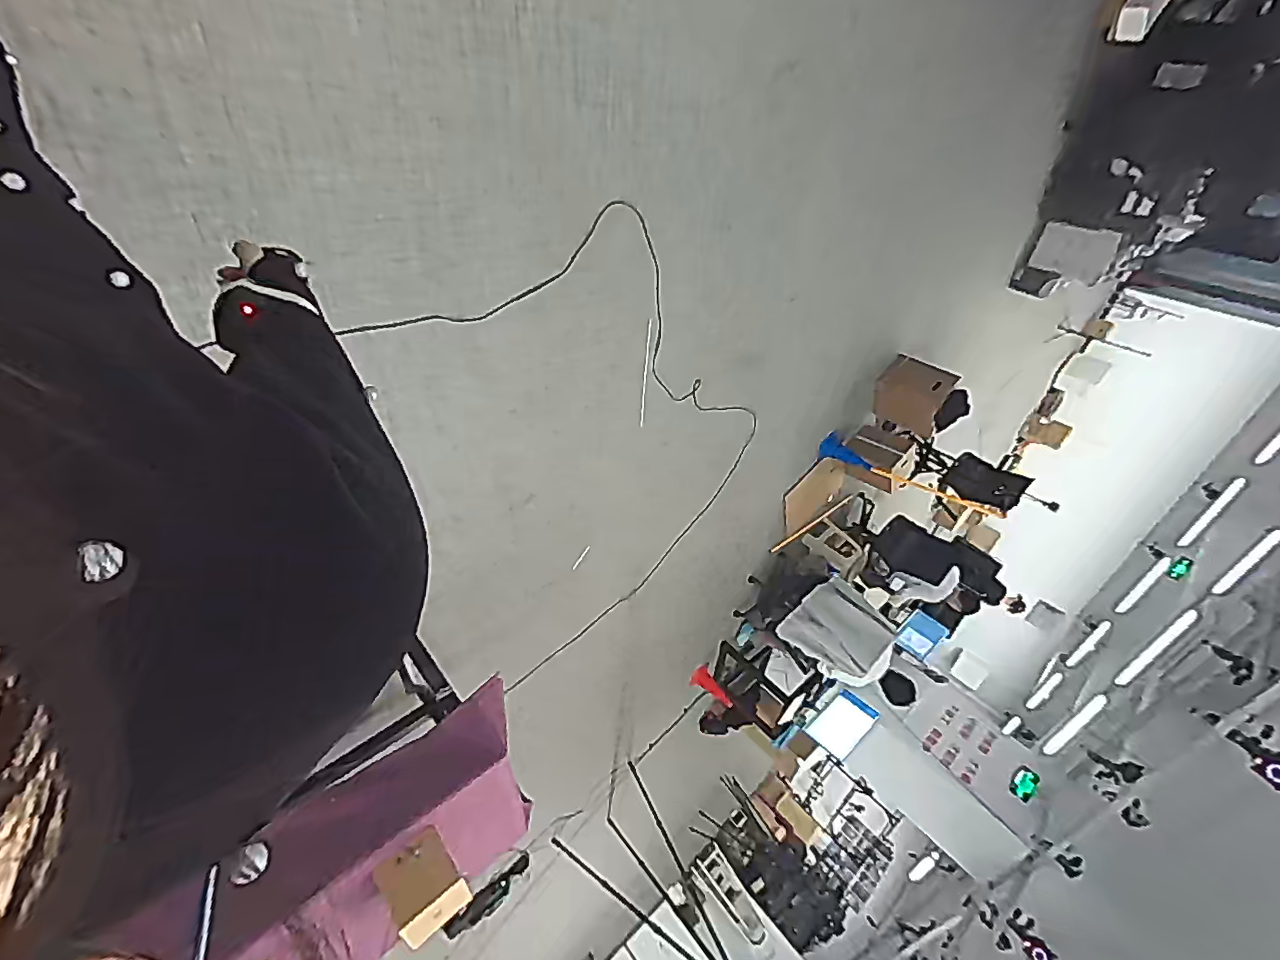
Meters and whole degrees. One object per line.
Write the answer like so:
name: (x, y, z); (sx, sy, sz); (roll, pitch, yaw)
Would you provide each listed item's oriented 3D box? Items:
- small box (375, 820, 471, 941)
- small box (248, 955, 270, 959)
small box: (-0.565, 1.039, 1.413); (0.168, 0.176, 0.179); (-27, 138, -33)
small box: (-0.880, 1.207, 1.192); (0.168, 0.176, 0.179); (-29, 140, -33)
